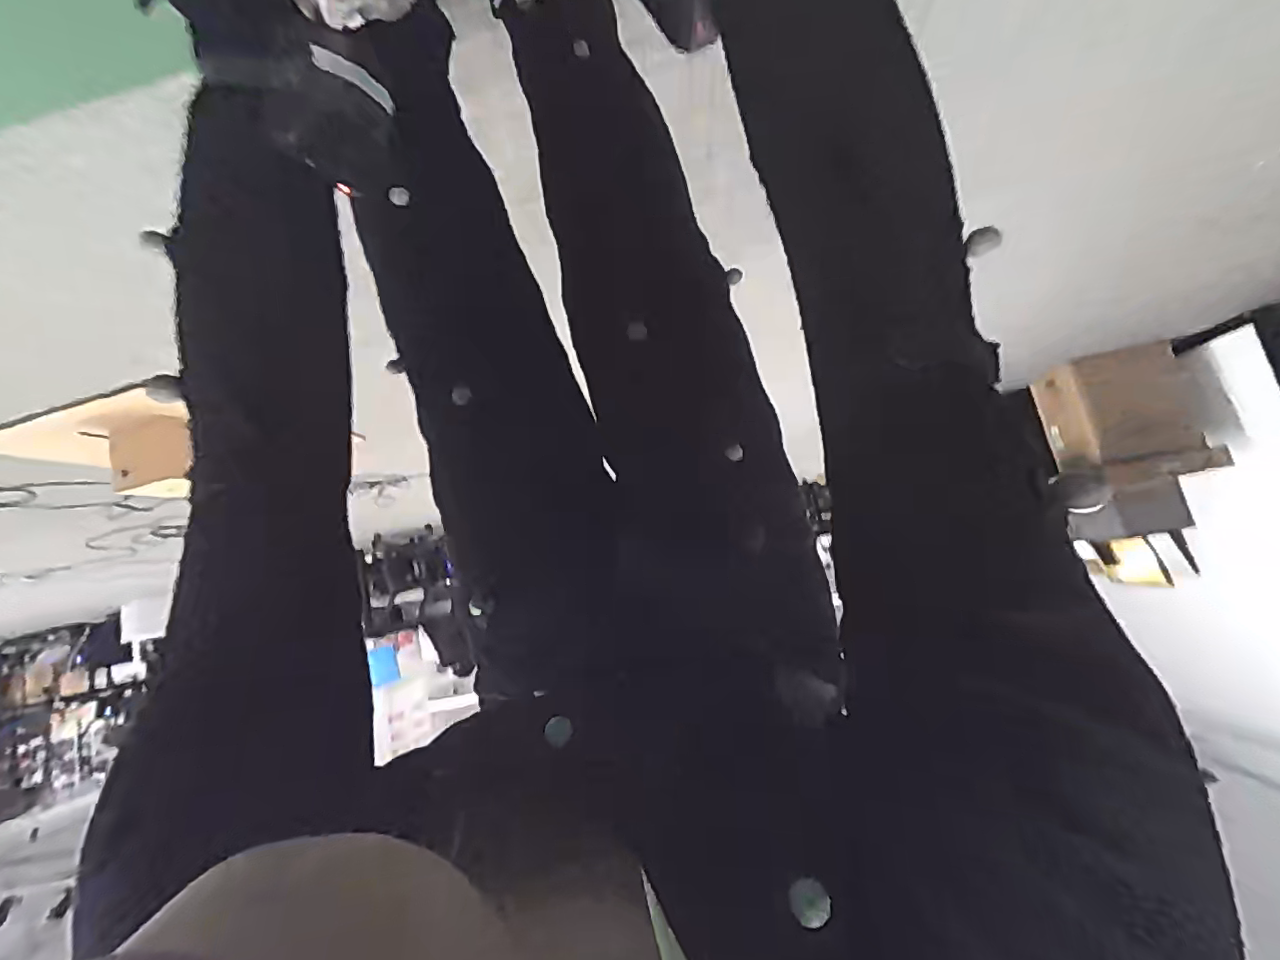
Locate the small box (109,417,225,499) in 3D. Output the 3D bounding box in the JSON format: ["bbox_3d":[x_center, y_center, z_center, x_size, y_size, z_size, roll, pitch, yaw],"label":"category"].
[{"bbox_3d":[-1.259,-0.055,1.441,0.179,0.176,0.168,-14,172,9],"label":"small box"}]
